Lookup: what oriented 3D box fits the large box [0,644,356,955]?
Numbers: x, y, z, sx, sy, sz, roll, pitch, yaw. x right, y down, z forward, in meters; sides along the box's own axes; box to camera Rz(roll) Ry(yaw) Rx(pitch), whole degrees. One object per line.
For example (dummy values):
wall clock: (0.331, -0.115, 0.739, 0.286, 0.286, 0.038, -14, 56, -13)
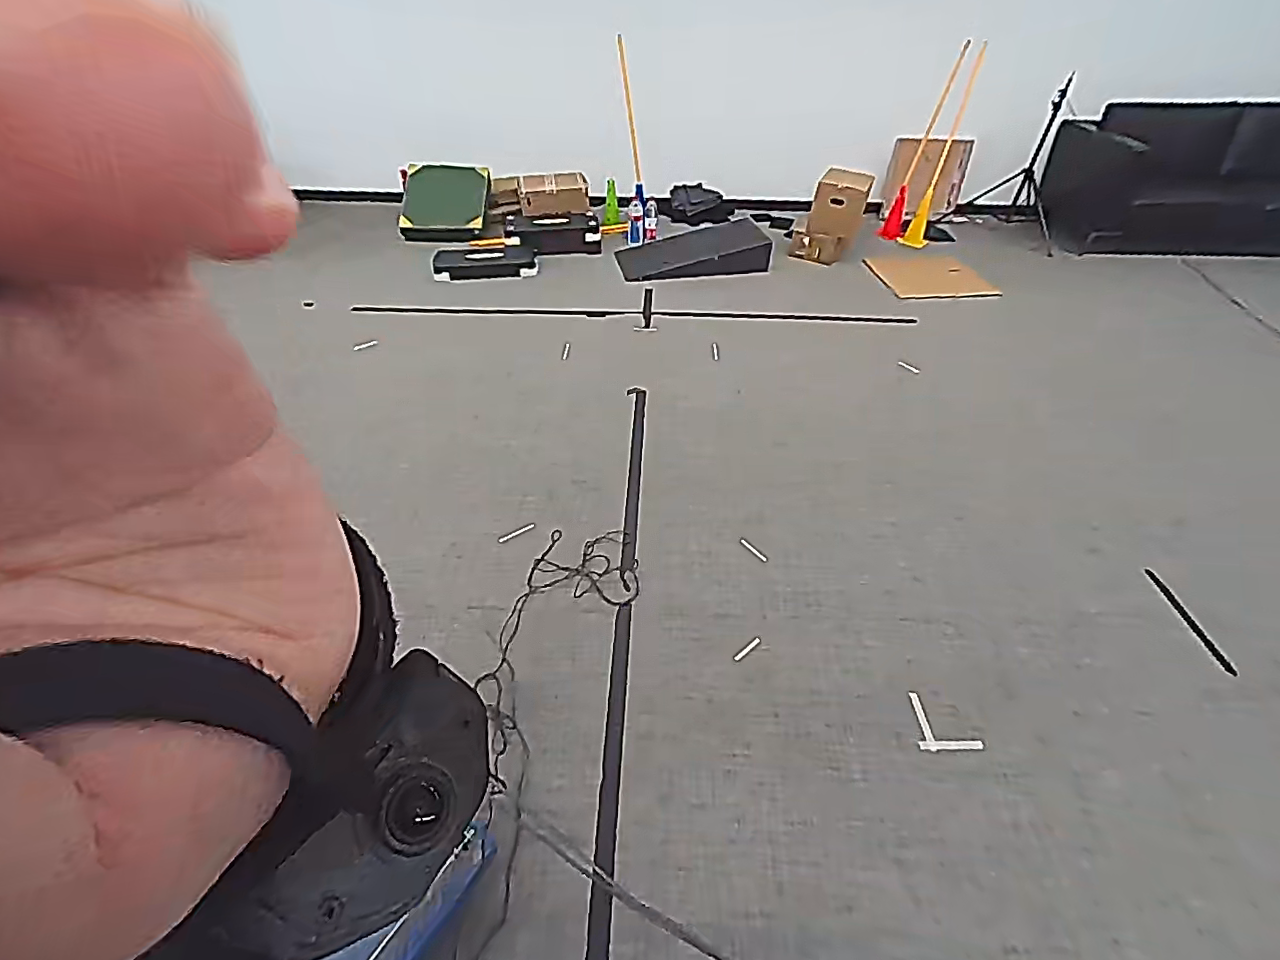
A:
large box: (-0.862, 0.613, 1.064, 0.320, 0.320, 0.408, 14, 45, 12)
